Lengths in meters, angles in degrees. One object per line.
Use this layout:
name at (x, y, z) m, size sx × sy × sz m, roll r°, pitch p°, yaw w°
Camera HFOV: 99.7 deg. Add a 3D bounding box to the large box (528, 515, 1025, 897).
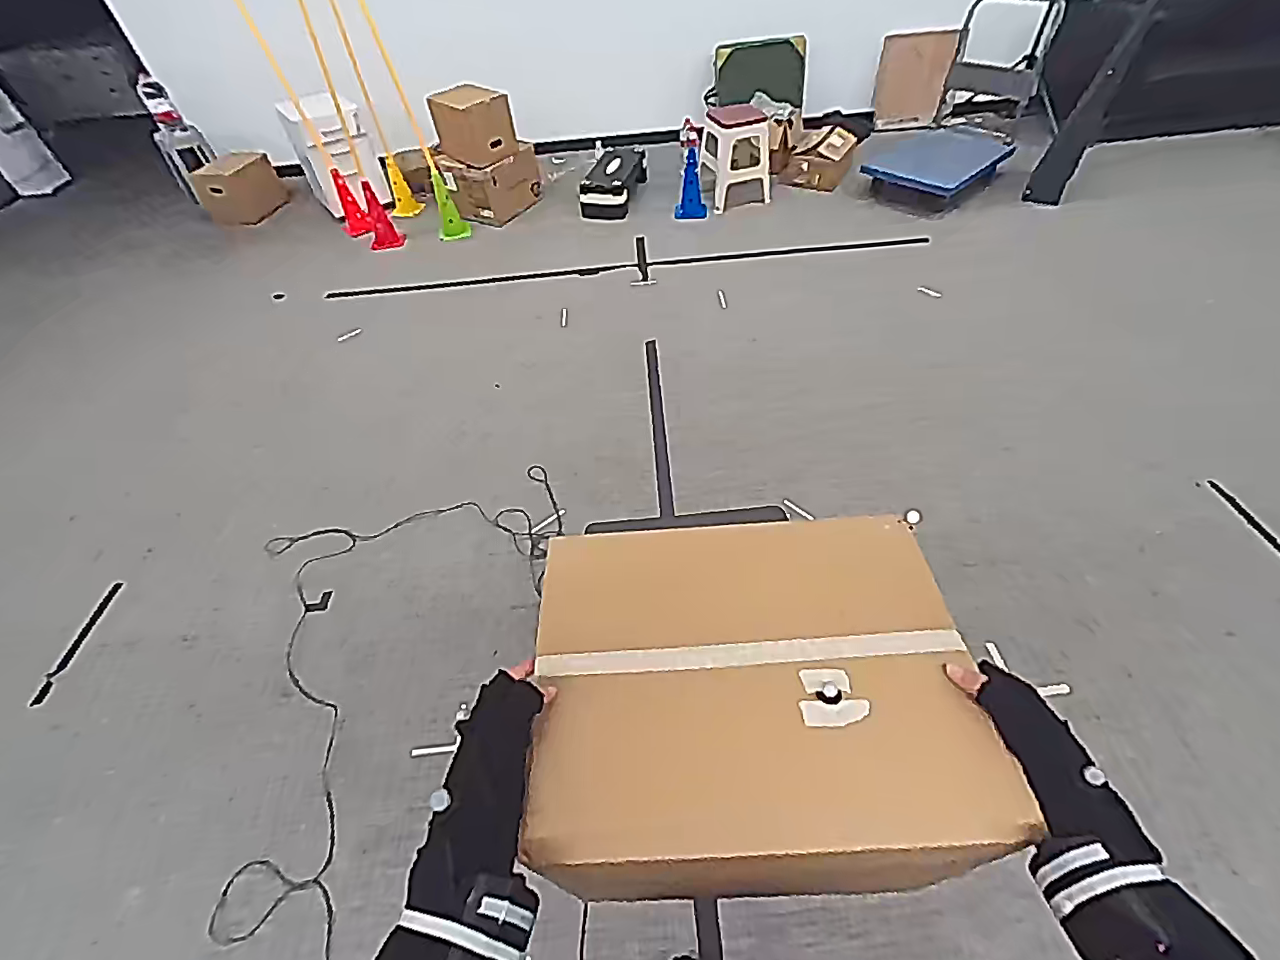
large box at (0.110, 0.269, 0.635) m, size 0.408 × 0.320 × 0.320 m, roll -4°, pitch 48°, yaw 2°
